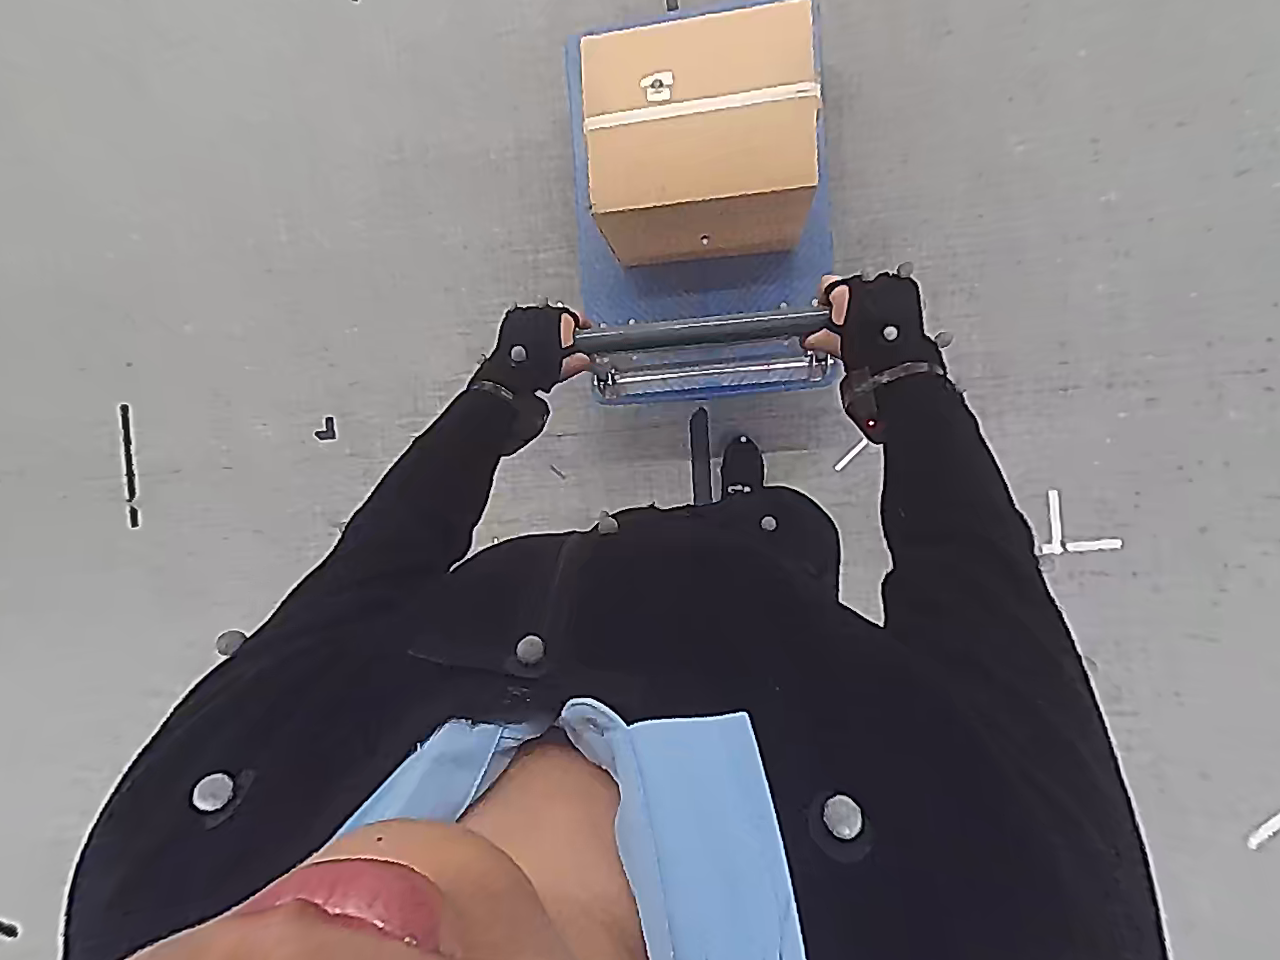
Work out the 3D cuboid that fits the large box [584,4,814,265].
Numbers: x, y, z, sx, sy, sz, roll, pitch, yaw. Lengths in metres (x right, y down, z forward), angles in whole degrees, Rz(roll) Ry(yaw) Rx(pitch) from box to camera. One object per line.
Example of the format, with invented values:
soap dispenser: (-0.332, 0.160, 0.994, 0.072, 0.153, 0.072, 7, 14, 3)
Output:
large box: (0.127, -0.668, 1.119, 0.408, 0.320, 0.320, -3, 92, 10)
